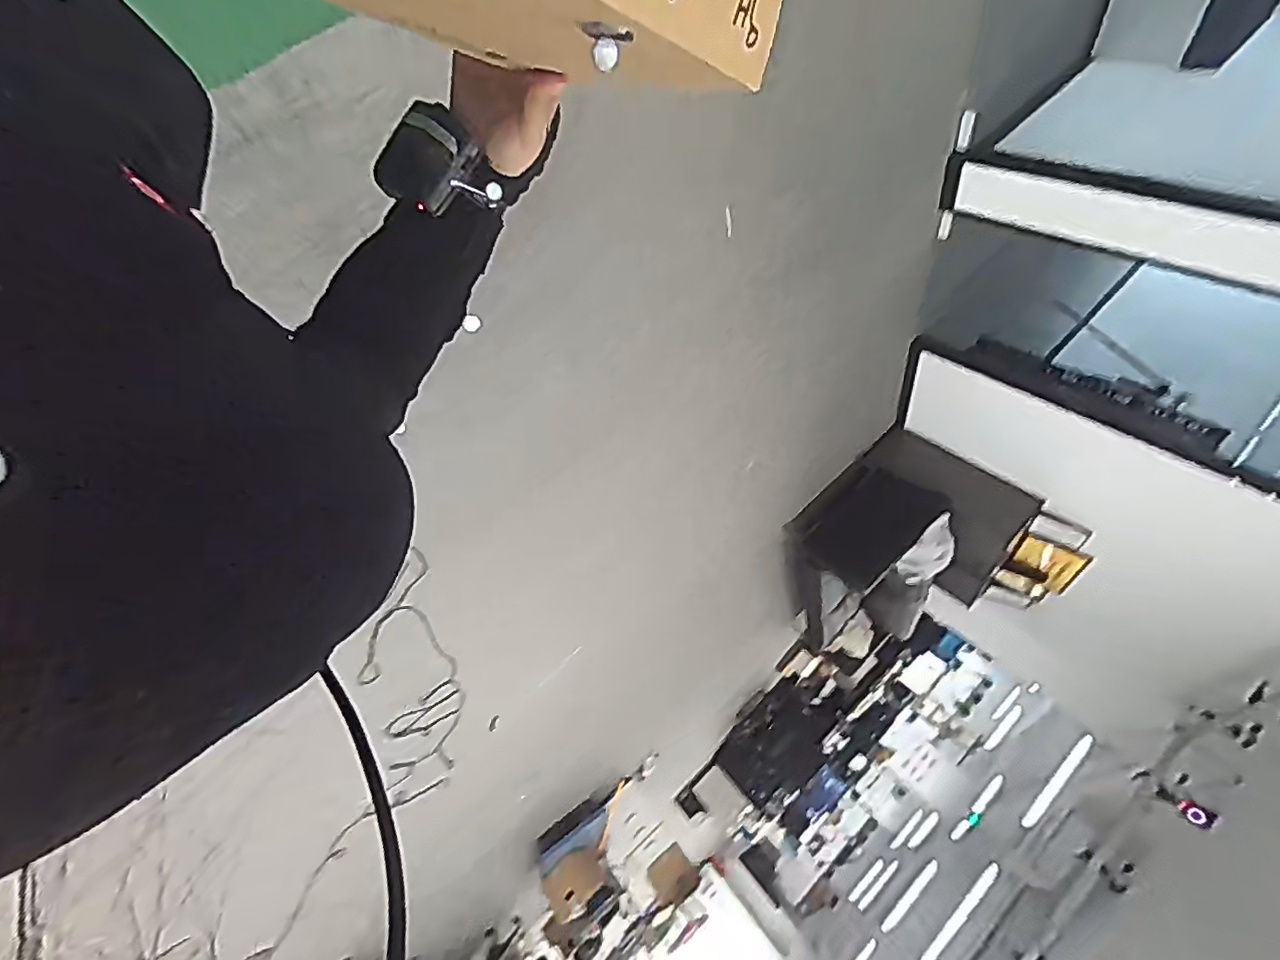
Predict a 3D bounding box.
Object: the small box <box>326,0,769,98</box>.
[{"bbox_3d":[-0.040,-0.297,0.241,0.168,0.176,0.179,-24,132,-48],"label":"small box"}]
